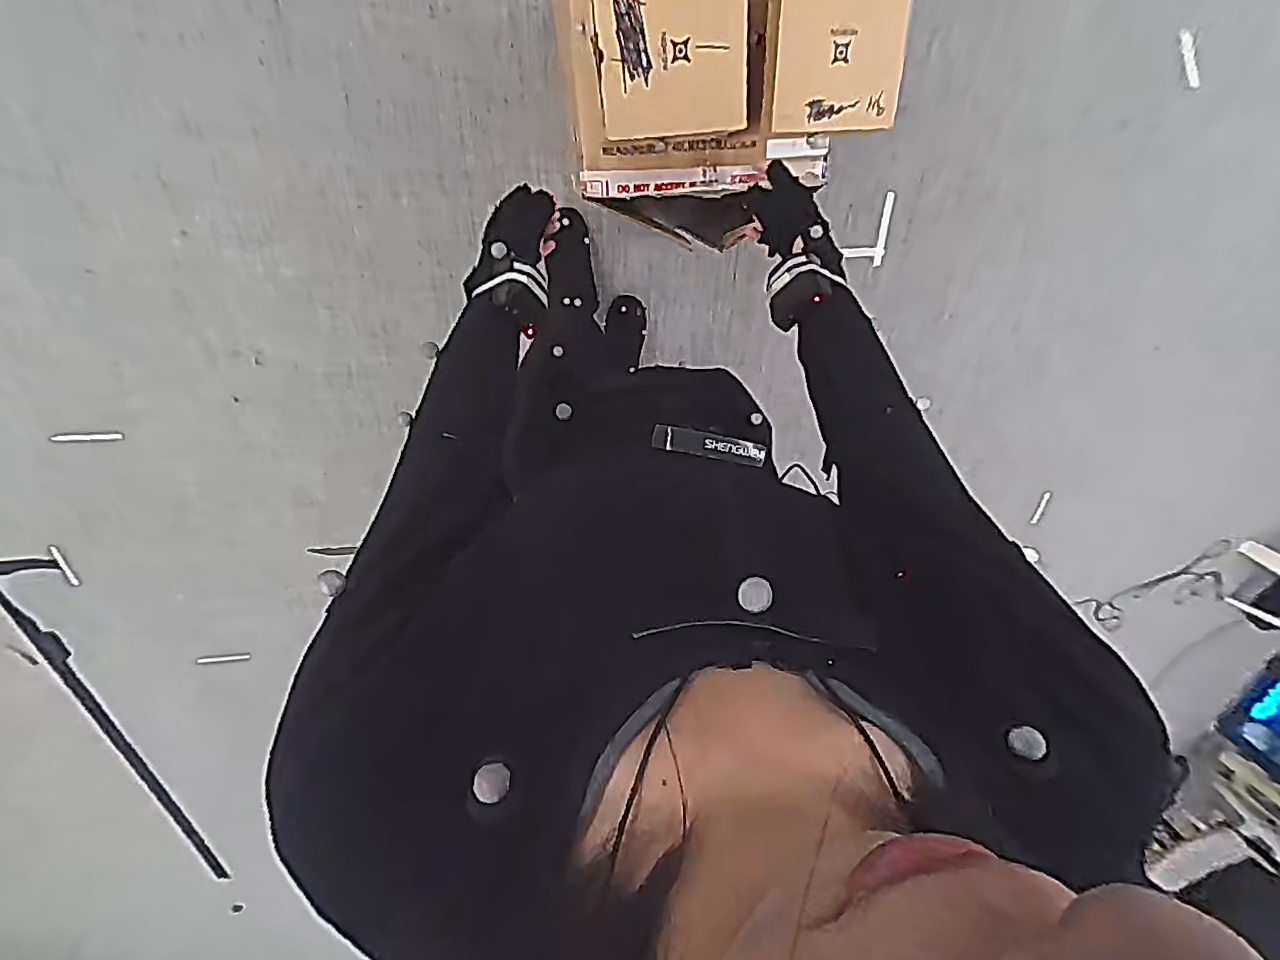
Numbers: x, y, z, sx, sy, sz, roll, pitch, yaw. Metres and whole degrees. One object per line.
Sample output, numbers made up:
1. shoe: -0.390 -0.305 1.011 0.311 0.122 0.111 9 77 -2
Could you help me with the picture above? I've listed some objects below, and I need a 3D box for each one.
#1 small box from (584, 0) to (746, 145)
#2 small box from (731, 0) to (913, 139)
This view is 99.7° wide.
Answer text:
1. small box: 0.024 -0.525 0.676 0.179 0.176 0.168 -8 120 -5
2. small box: 0.220 -0.551 0.698 0.168 0.176 0.179 -7 120 -9
